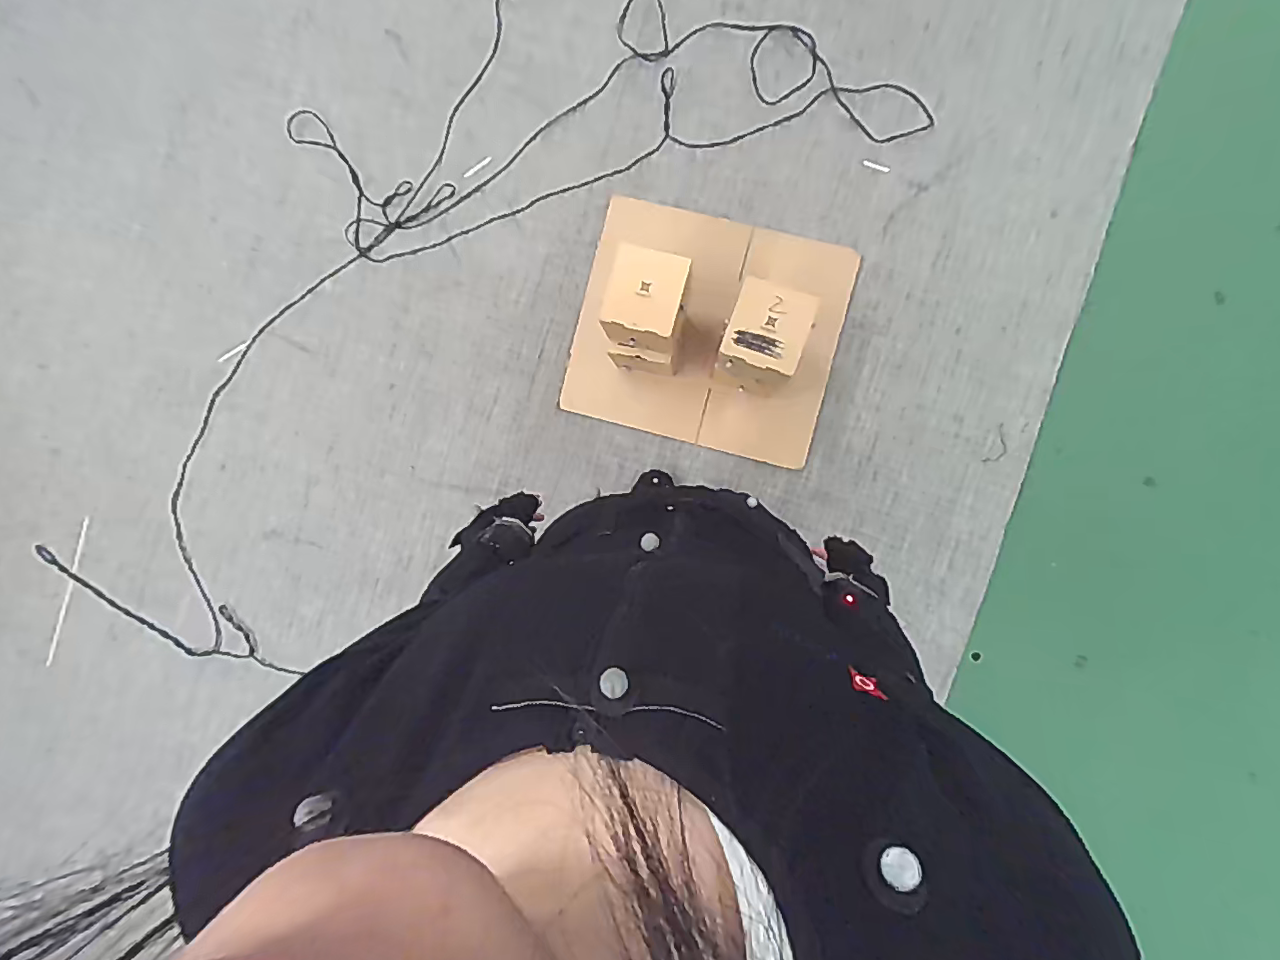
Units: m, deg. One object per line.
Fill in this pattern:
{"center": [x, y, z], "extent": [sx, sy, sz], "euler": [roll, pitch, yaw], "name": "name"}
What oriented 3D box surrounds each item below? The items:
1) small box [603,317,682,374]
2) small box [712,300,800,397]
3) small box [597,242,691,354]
{"center": [0.014, -0.383, 1.398], "extent": [0.168, 0.176, 0.179], "euler": [13, 91, 5], "name": "small box"}
{"center": [0.286, -0.327, 1.379], "extent": [0.168, 0.176, 0.179], "euler": [20, 93, 5], "name": "small box"}
{"center": [0.012, -0.408, 1.234], "extent": [0.168, 0.176, 0.179], "euler": [16, 92, 4], "name": "small box"}
